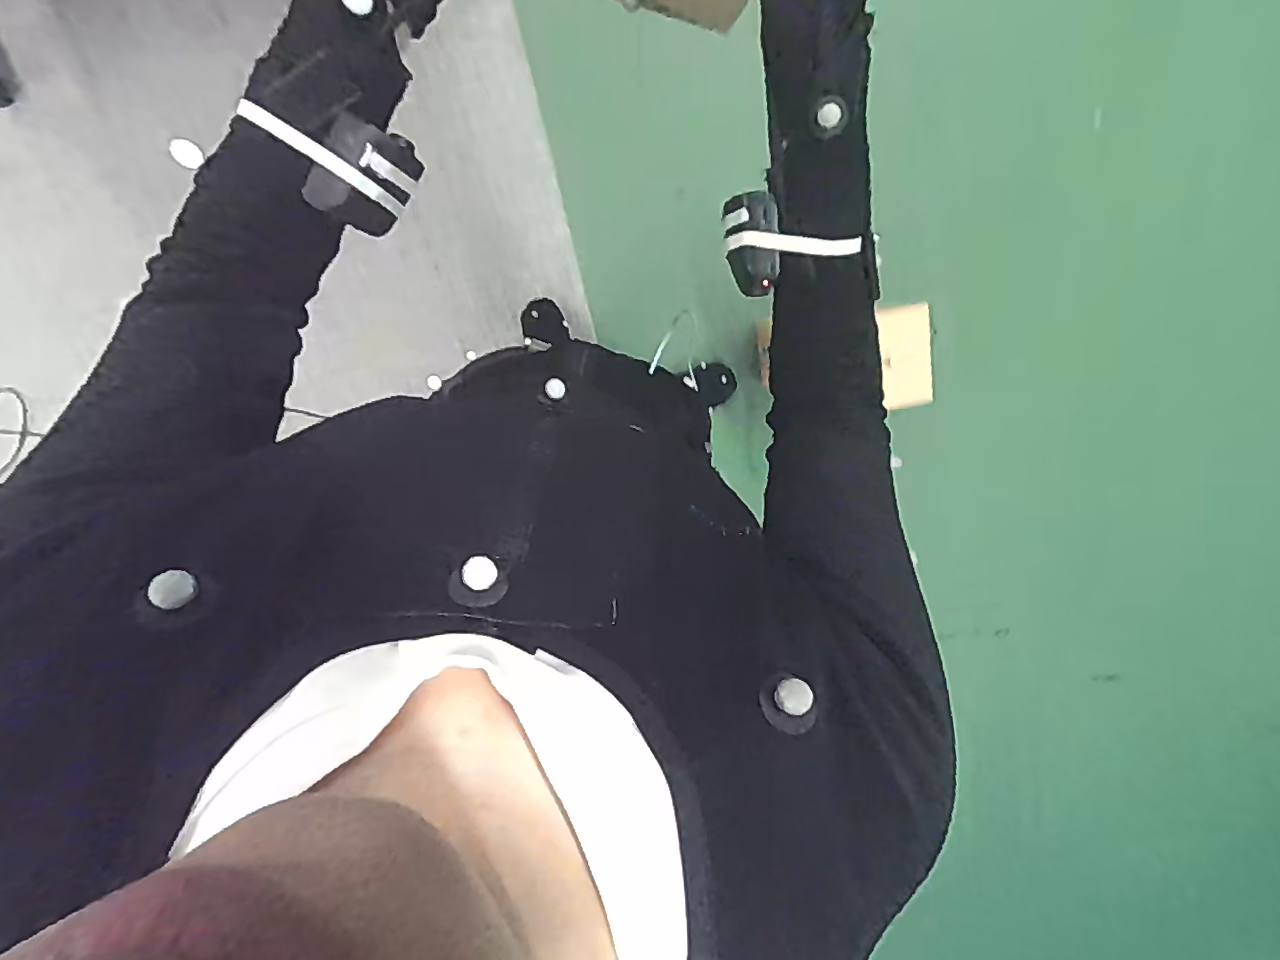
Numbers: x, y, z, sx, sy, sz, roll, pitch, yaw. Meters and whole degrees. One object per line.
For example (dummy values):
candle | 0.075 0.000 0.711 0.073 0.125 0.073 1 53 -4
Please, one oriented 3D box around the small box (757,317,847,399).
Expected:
small box | 0.397 -0.304 1.324 0.179 0.176 0.168 -9 106 4

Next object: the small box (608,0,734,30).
small box | 0.010 -0.440 0.348 0.168 0.176 0.179 12 117 -7

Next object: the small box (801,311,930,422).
small box | 0.409 -0.214 1.007 0.179 0.176 0.168 -11 106 2
